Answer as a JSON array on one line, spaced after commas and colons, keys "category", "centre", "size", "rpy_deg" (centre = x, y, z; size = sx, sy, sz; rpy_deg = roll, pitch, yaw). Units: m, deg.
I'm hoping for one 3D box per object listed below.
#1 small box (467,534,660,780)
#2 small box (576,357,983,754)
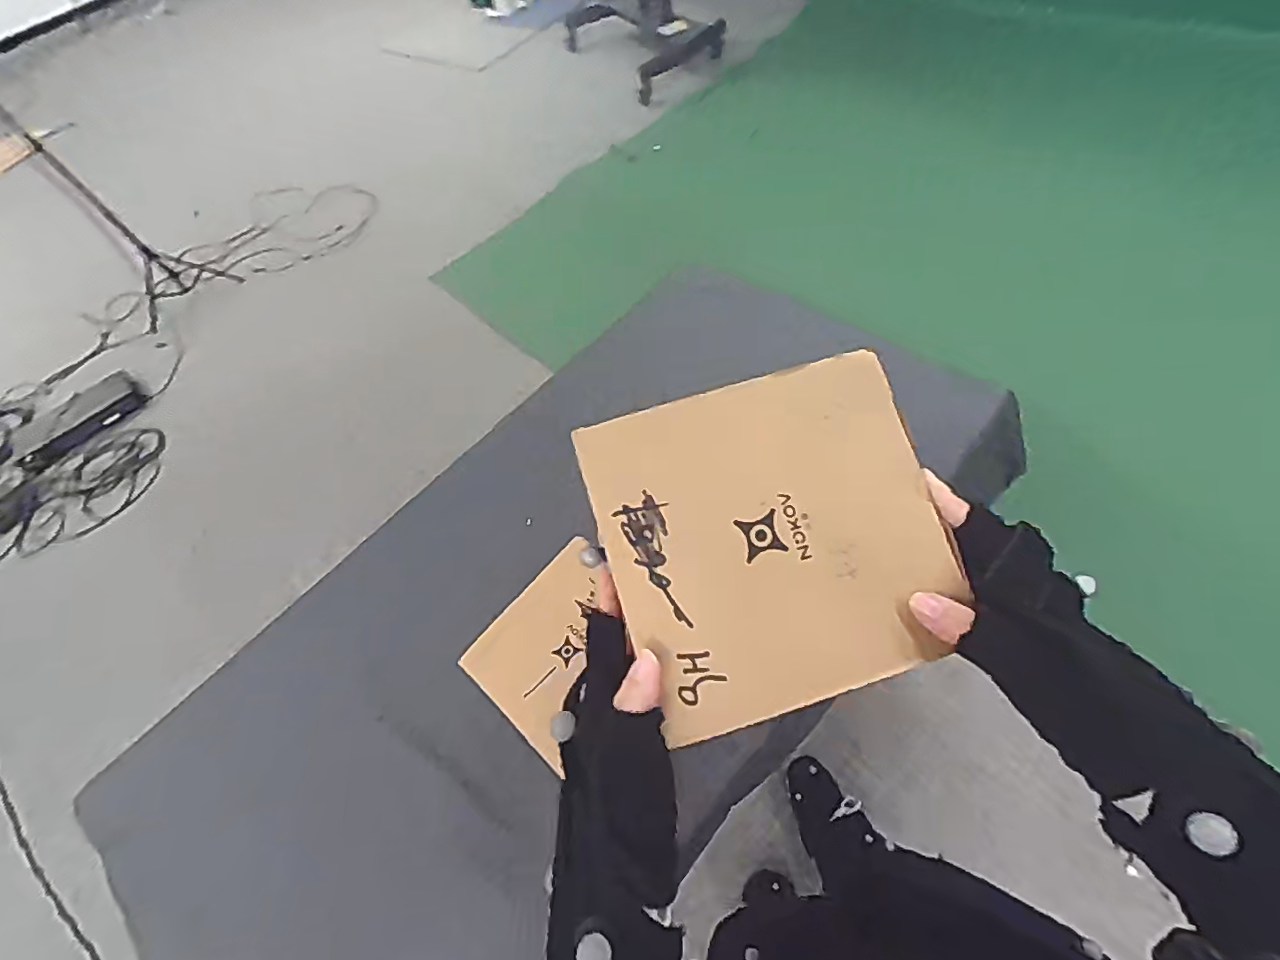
[{"category": "small box", "centre": [-0.047, 0.197, 0.595], "size": [0.168, 0.176, 0.179], "rpy_deg": [34, 71, 27]}, {"category": "small box", "centre": [0.068, 0.046, 0.361], "size": [0.179, 0.176, 0.168], "rpy_deg": [-19, 80, -5]}]
